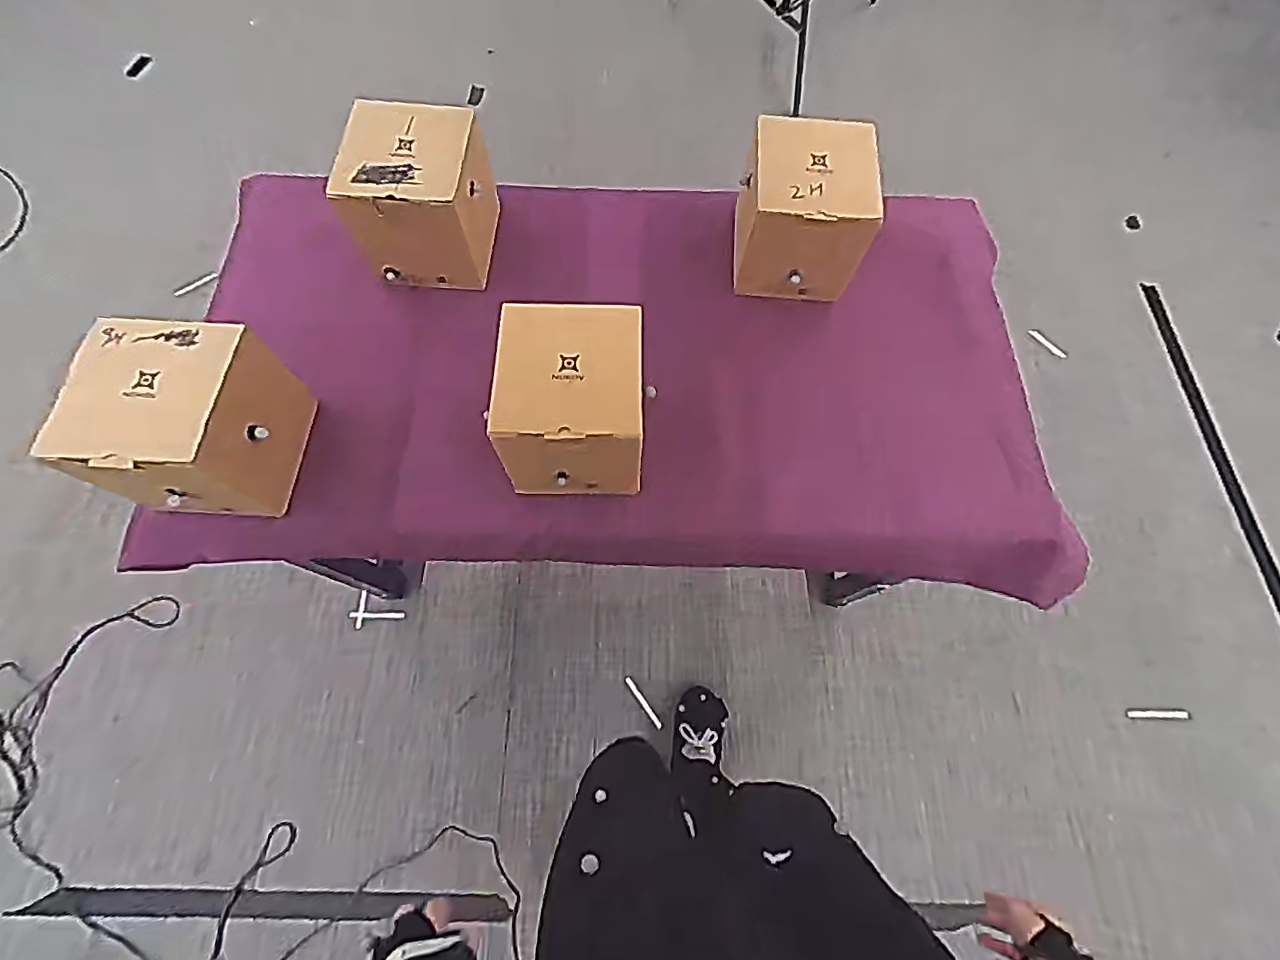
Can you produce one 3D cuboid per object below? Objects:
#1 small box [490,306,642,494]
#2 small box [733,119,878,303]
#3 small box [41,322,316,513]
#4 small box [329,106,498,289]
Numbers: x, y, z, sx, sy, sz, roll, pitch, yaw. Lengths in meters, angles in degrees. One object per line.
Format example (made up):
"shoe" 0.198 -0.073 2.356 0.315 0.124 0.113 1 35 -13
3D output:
"small box" -0.083 -0.095 0.685 0.168 0.176 0.179 0 68 -2
"small box" 0.234 -0.393 0.807 0.168 0.176 0.179 4 71 1
"small box" -0.530 -0.066 0.656 0.168 0.176 0.179 3 69 -2
"small box" -0.316 -0.405 0.795 0.168 0.176 0.179 3 69 -1
